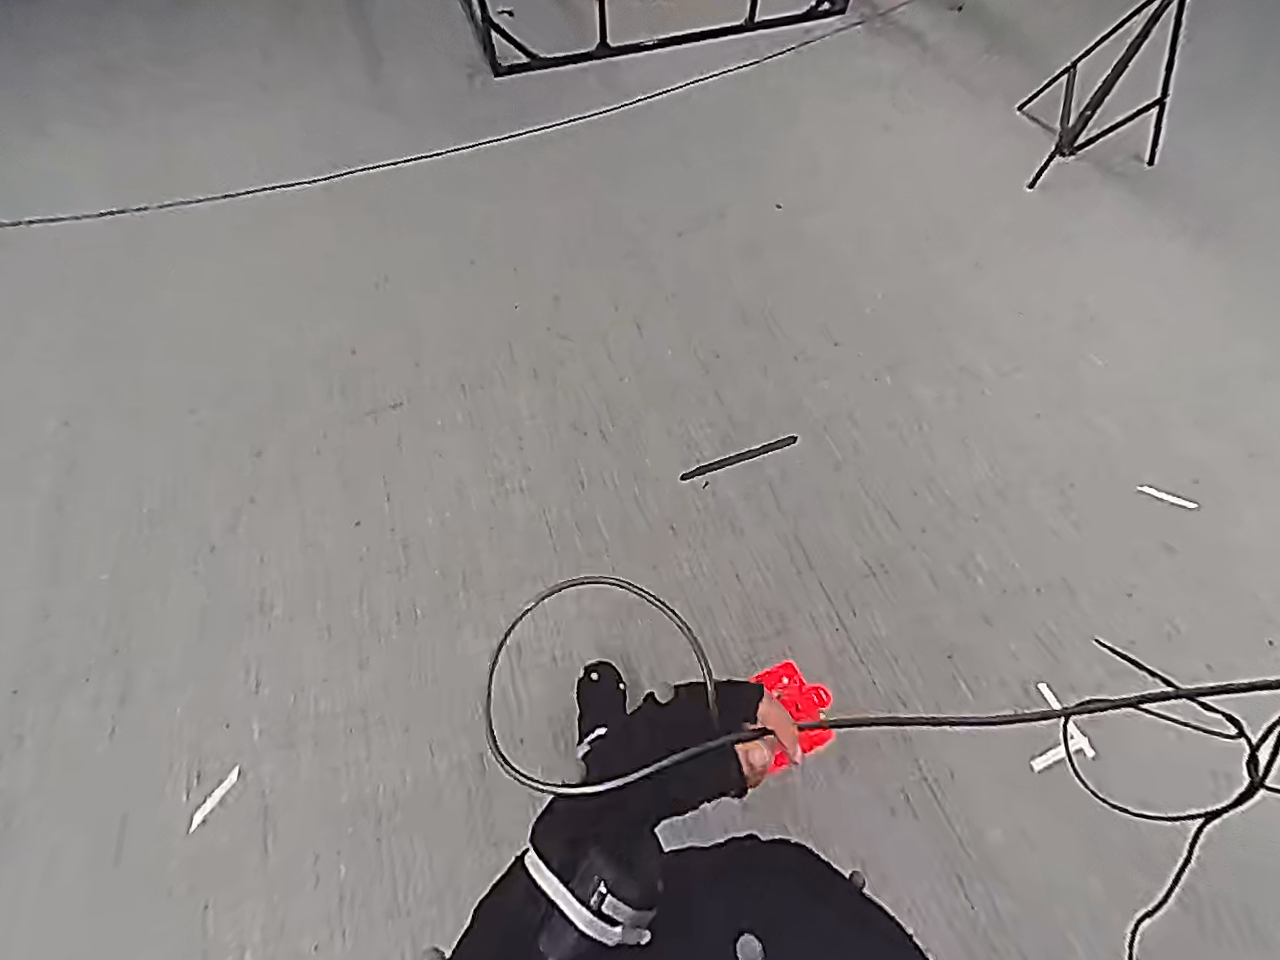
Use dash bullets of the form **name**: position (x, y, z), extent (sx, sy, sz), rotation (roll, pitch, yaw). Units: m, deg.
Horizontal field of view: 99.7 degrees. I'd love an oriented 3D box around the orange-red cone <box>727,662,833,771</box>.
- **orange-red cone**: position (0.325, 0.473, 1.127), extent (0.199, 0.360, 0.198), rotation (-22, 63, -10)
